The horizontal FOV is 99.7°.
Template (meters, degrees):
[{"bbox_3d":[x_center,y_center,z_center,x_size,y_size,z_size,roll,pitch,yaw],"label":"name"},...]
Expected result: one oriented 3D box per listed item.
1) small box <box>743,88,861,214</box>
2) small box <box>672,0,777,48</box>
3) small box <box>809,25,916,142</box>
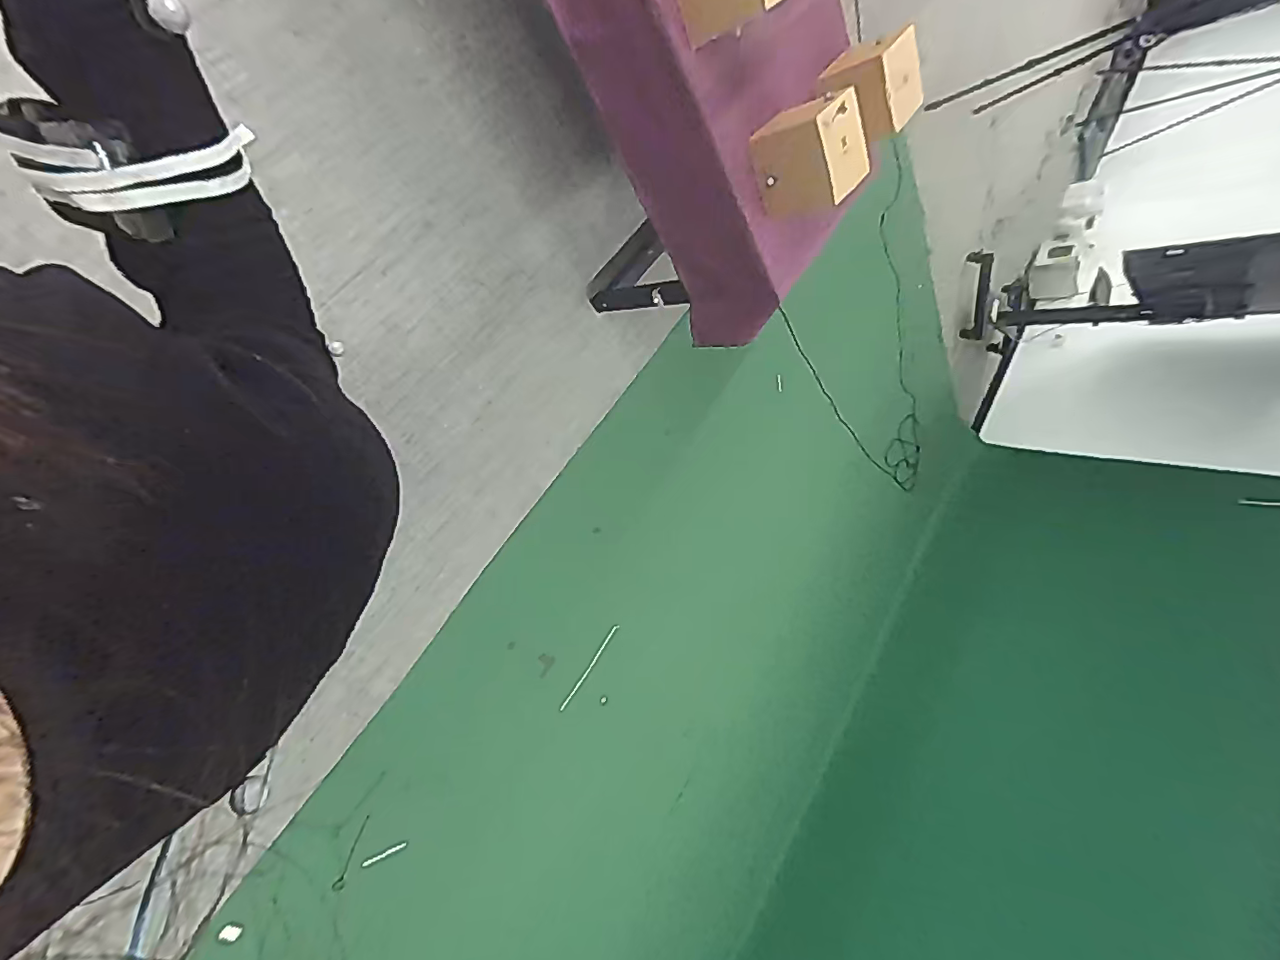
[{"bbox_3d":[0.354,-0.703,1.178,0.168,0.176,0.179,-49,129,-25],"label":"small box"},{"bbox_3d":[0.154,-0.908,0.942,0.168,0.176,0.179,-50,129,-24],"label":"small box"},{"bbox_3d":[0.533,-0.932,1.297,0.179,0.176,0.168,-51,129,-22],"label":"small box"}]
